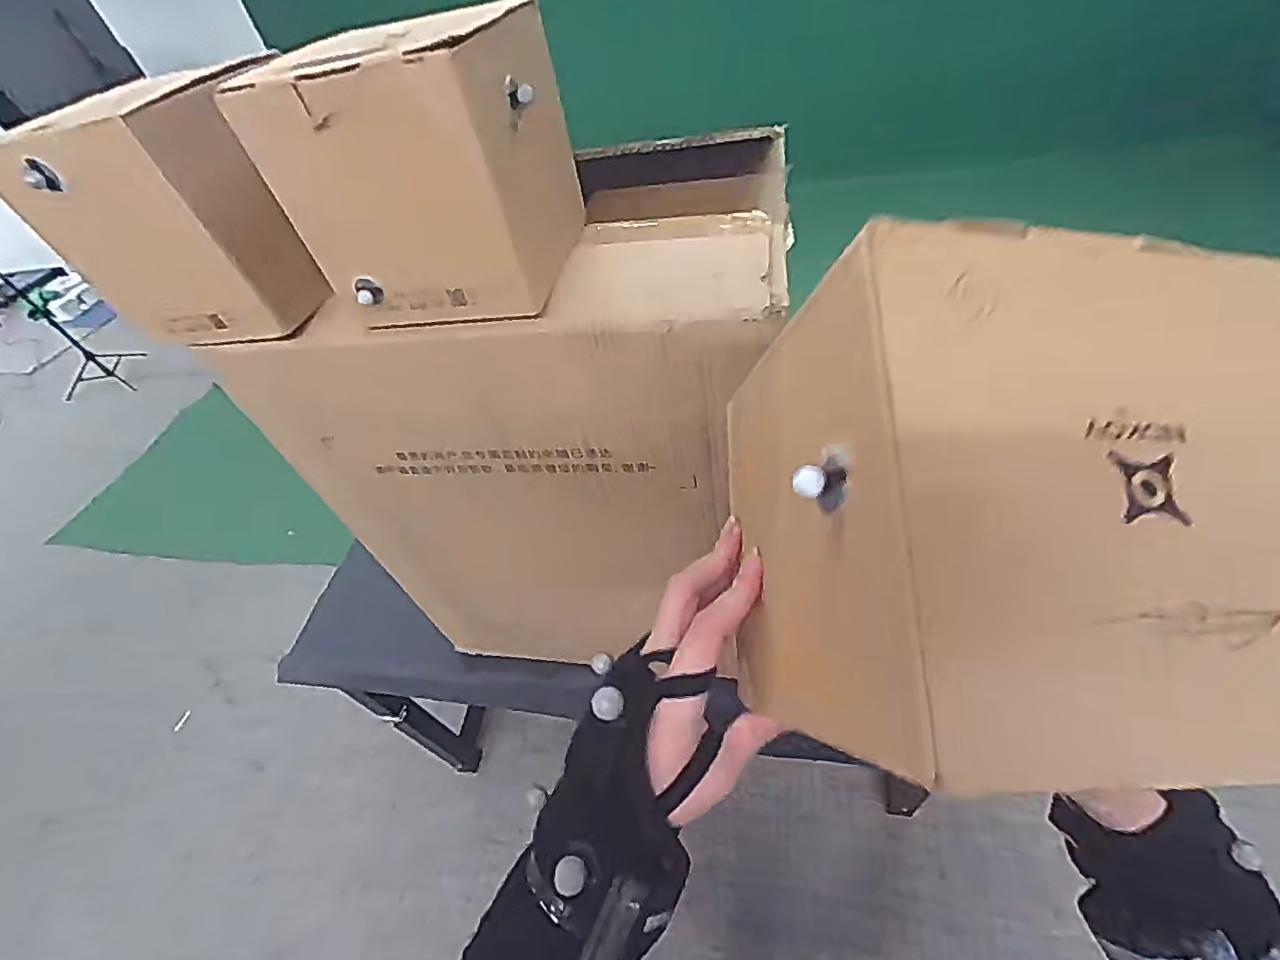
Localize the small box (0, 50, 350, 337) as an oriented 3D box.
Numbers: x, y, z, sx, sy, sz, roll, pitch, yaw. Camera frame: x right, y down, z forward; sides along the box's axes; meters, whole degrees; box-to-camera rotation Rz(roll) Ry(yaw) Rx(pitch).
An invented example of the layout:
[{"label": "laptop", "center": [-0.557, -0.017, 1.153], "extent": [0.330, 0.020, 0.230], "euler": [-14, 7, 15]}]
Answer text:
[{"label": "small box", "center": [-0.369, -0.248, 0.482], "extent": [0.168, 0.176, 0.179], "euler": [0, 48, 17]}]

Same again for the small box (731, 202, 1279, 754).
[{"label": "small box", "center": [0.143, 0.012, 0.250], "extent": [0.168, 0.176, 0.179], "euler": [3, 77, -6]}]

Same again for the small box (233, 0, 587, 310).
[{"label": "small box", "center": [-0.151, -0.249, 0.432], "extent": [0.168, 0.176, 0.179], "euler": [1, 48, 13]}]
